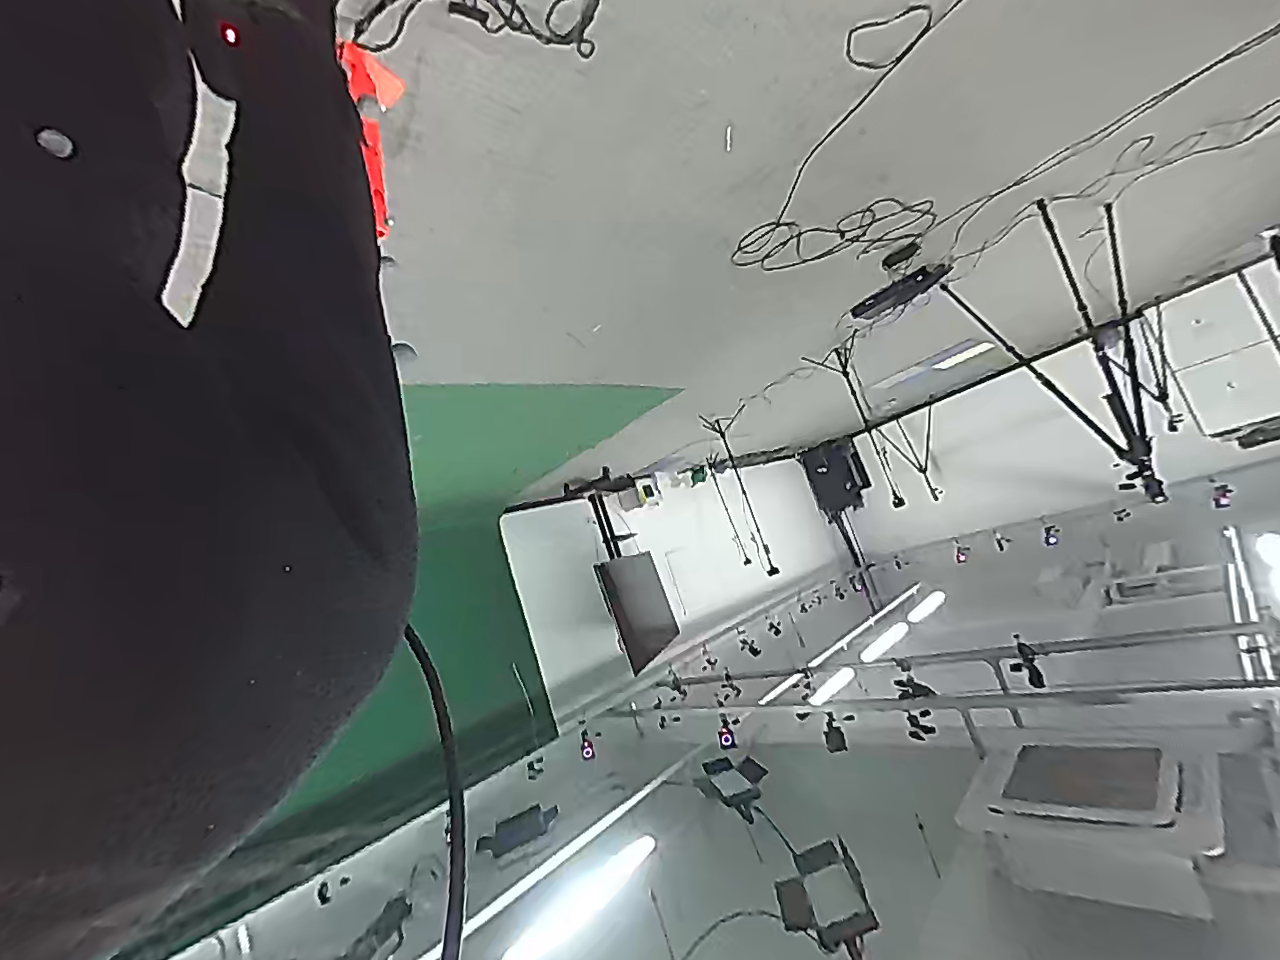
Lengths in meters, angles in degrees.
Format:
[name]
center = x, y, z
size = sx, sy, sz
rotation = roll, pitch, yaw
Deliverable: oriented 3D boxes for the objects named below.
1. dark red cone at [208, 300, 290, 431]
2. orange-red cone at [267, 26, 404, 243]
[dark red cone]
center = -1.129, -0.335, 1.612
size = 0.202, 0.394, 0.201
rotation = -12, 172, -37
[orange-red cone]
center = -0.561, -0.640, 1.080
size = 0.198, 0.360, 0.199
rotation = -22, 172, 24
